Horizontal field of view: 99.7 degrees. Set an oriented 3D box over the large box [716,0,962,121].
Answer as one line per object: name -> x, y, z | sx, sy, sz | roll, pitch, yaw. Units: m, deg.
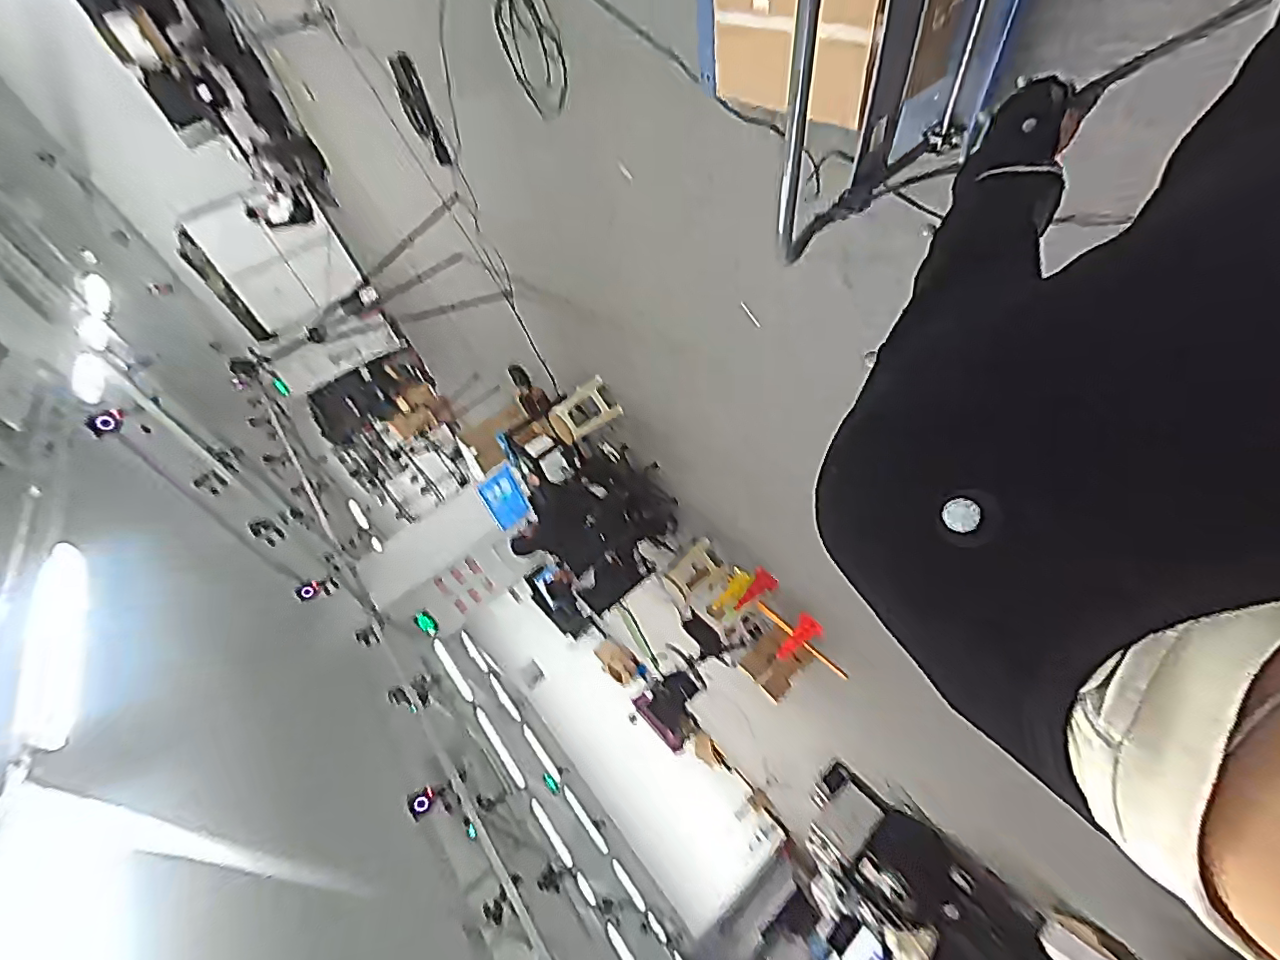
large box -> 0.411, -1.012, 1.126 | 0.408, 0.320, 0.320 | 41, 158, 31
